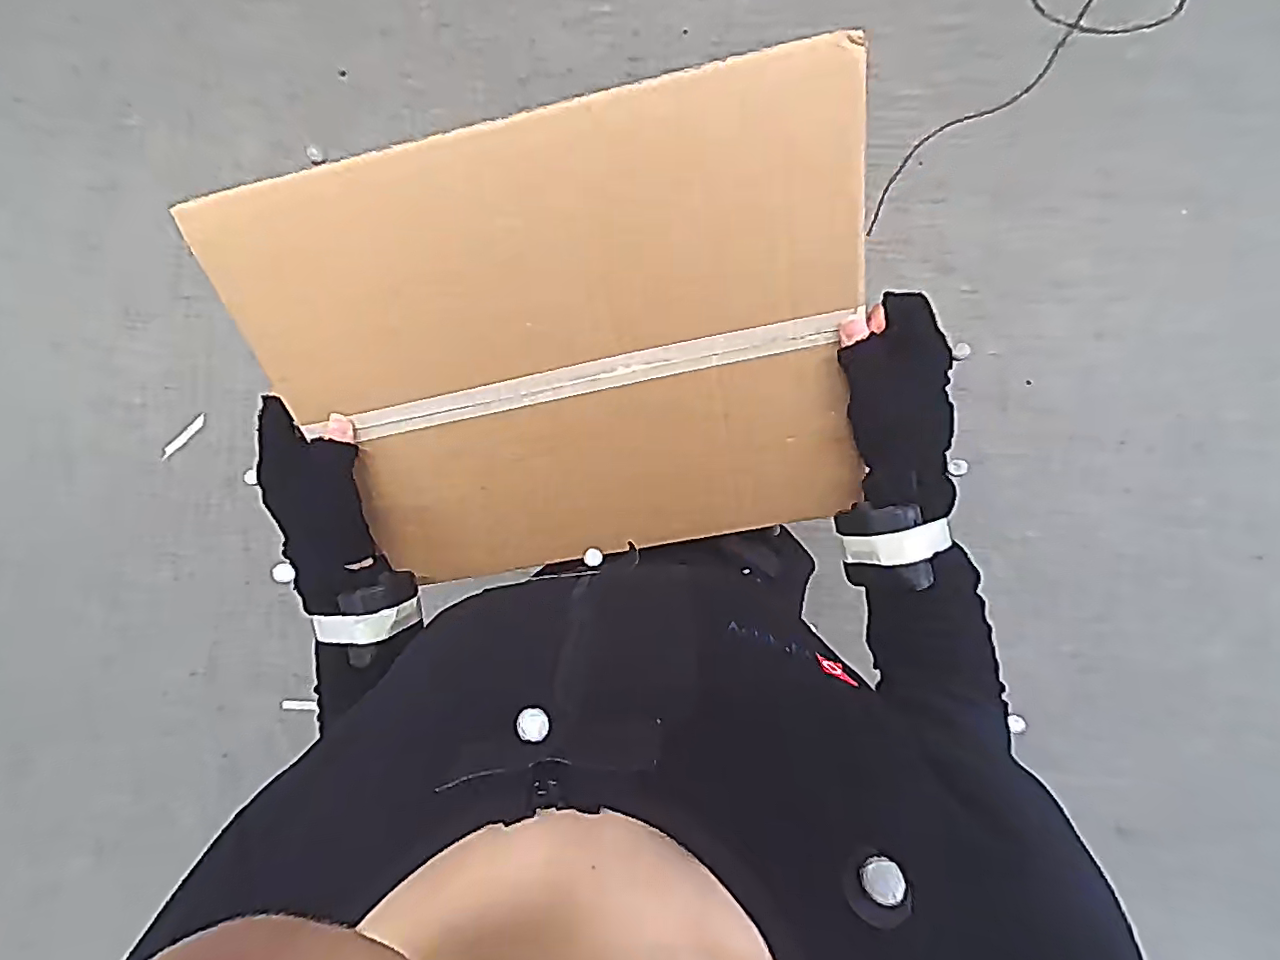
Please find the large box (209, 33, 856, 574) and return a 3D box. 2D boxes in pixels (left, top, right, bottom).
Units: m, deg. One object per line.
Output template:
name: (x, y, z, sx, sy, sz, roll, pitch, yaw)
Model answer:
large box: (-0.050, -0.155, 0.518, 0.408, 0.320, 0.320, -11, 122, 6)
